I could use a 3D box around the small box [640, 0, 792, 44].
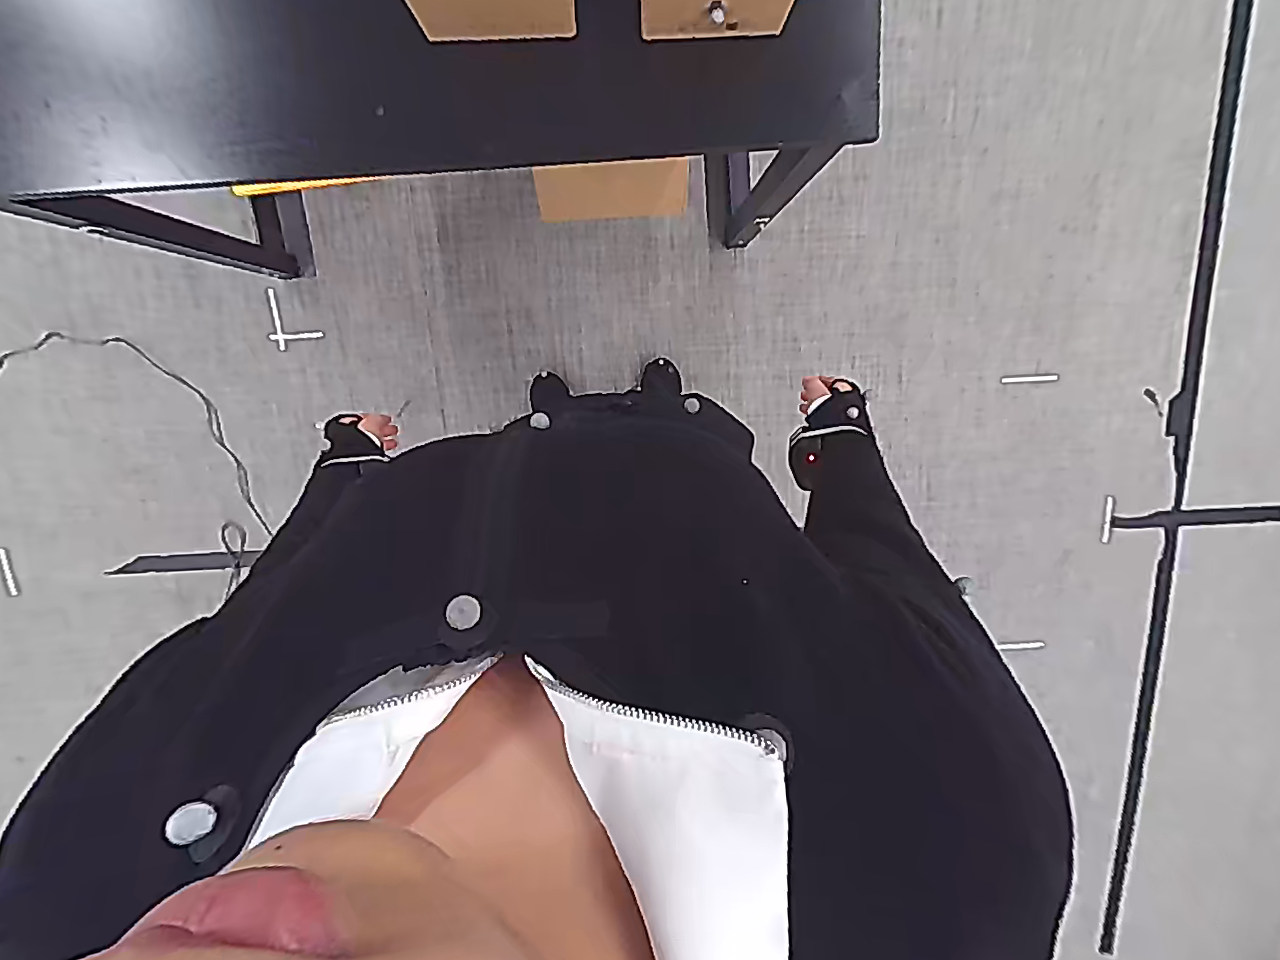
[{"bbox_3d":[0.080,-0.591,0.549,0.168,0.176,0.179,-2,101,0],"label":"small box"}]

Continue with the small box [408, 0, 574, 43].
[{"bbox_3d":[-0.165,-0.580,0.546,0.179,0.176,0.168,-2,102,-2],"label":"small box"}]
